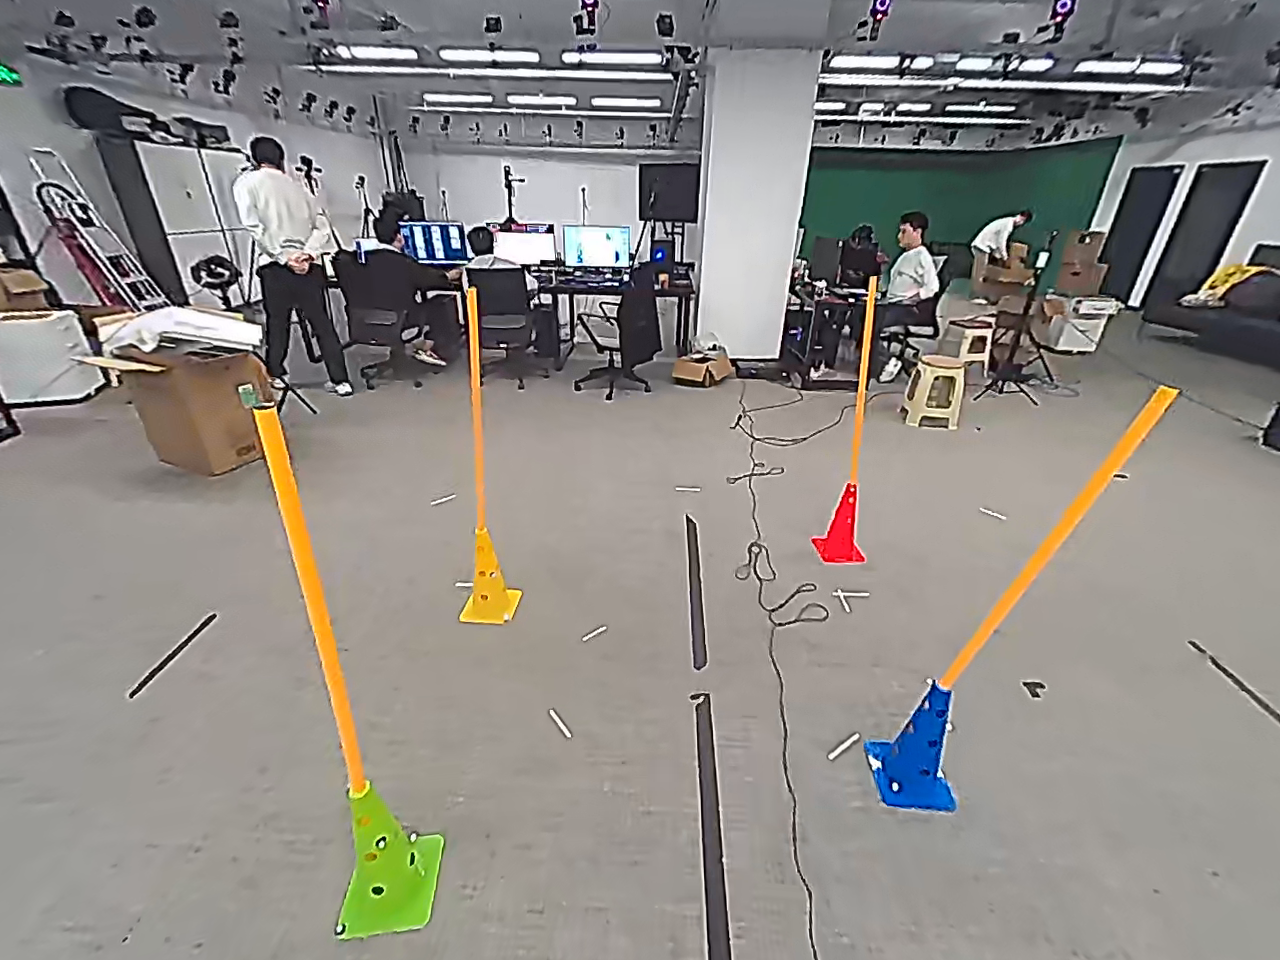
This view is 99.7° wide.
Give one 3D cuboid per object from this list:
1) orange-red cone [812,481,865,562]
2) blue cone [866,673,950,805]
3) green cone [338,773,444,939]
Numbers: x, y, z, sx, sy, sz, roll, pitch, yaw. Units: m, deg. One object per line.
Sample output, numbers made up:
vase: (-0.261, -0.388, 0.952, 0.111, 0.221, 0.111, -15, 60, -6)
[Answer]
orange-red cone: (0.922, 0.169, 2.436, 0.199, 0.360, 0.198, -2, 27, -2)
blue cone: (0.762, 0.680, 1.462, 0.193, 0.380, 0.192, 3, 26, 4)
green cone: (-0.570, 0.786, 1.187, 0.200, 0.368, 0.202, -3, 25, -8)
